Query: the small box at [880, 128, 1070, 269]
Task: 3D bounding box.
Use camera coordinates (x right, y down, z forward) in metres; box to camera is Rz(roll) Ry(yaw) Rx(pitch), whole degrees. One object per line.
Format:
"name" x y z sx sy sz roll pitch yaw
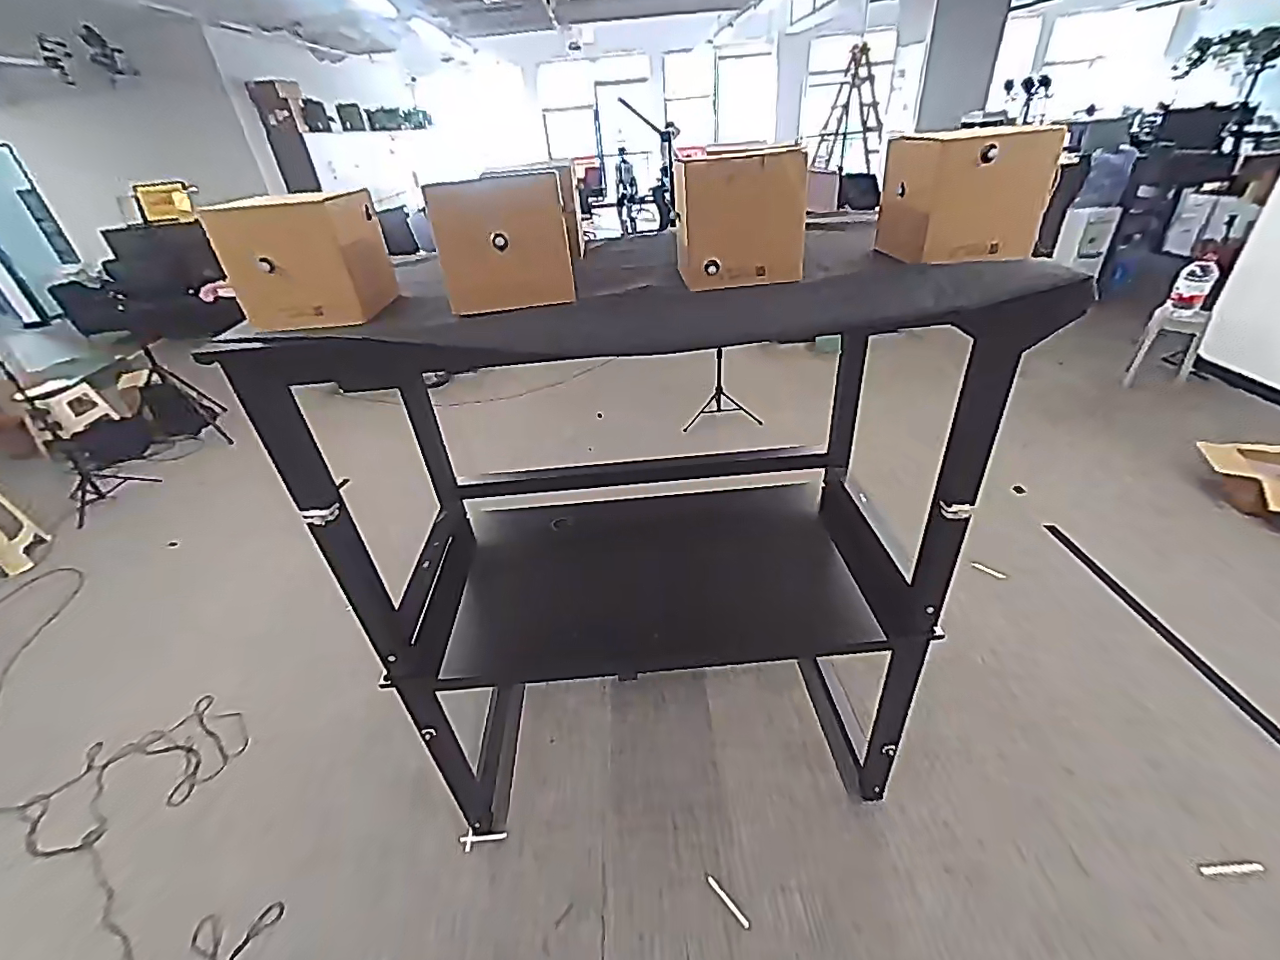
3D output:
"small box" 0.485 -0.424 0.818 0.168 0.176 0.179 -6 32 1

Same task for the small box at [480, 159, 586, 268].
"small box" -0.199 -0.519 1.060 0.168 0.176 0.179 -5 34 -1

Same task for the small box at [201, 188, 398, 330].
"small box" -0.488 -0.329 0.812 0.168 0.176 0.179 -6 33 -1

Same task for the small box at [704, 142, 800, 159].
"small box" 0.212 -0.560 1.068 0.168 0.176 0.179 -1 33 4

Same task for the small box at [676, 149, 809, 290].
"small box" 0.146 -0.389 0.813 0.168 0.176 0.179 -5 31 1
